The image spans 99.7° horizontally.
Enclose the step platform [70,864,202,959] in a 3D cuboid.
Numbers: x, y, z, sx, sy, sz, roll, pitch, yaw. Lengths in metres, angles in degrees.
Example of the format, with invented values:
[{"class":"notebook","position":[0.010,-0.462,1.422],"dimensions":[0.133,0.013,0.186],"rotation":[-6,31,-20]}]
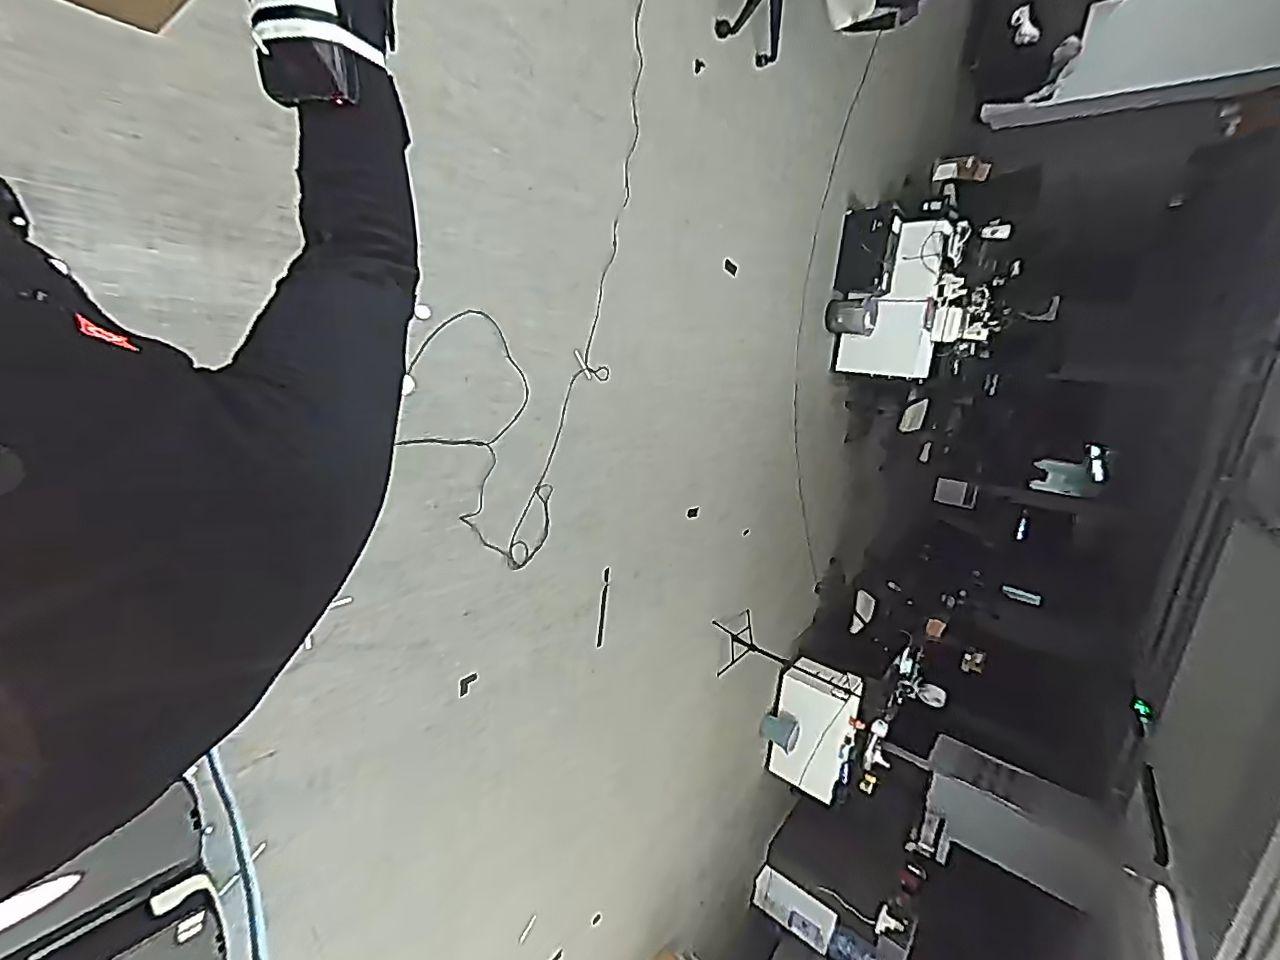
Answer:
[{"class":"step platform","position":[-1.321,1.148,1.087],"dimensions":[0.684,0.204,0.286],"rotation":[-14,113,-48]}]
